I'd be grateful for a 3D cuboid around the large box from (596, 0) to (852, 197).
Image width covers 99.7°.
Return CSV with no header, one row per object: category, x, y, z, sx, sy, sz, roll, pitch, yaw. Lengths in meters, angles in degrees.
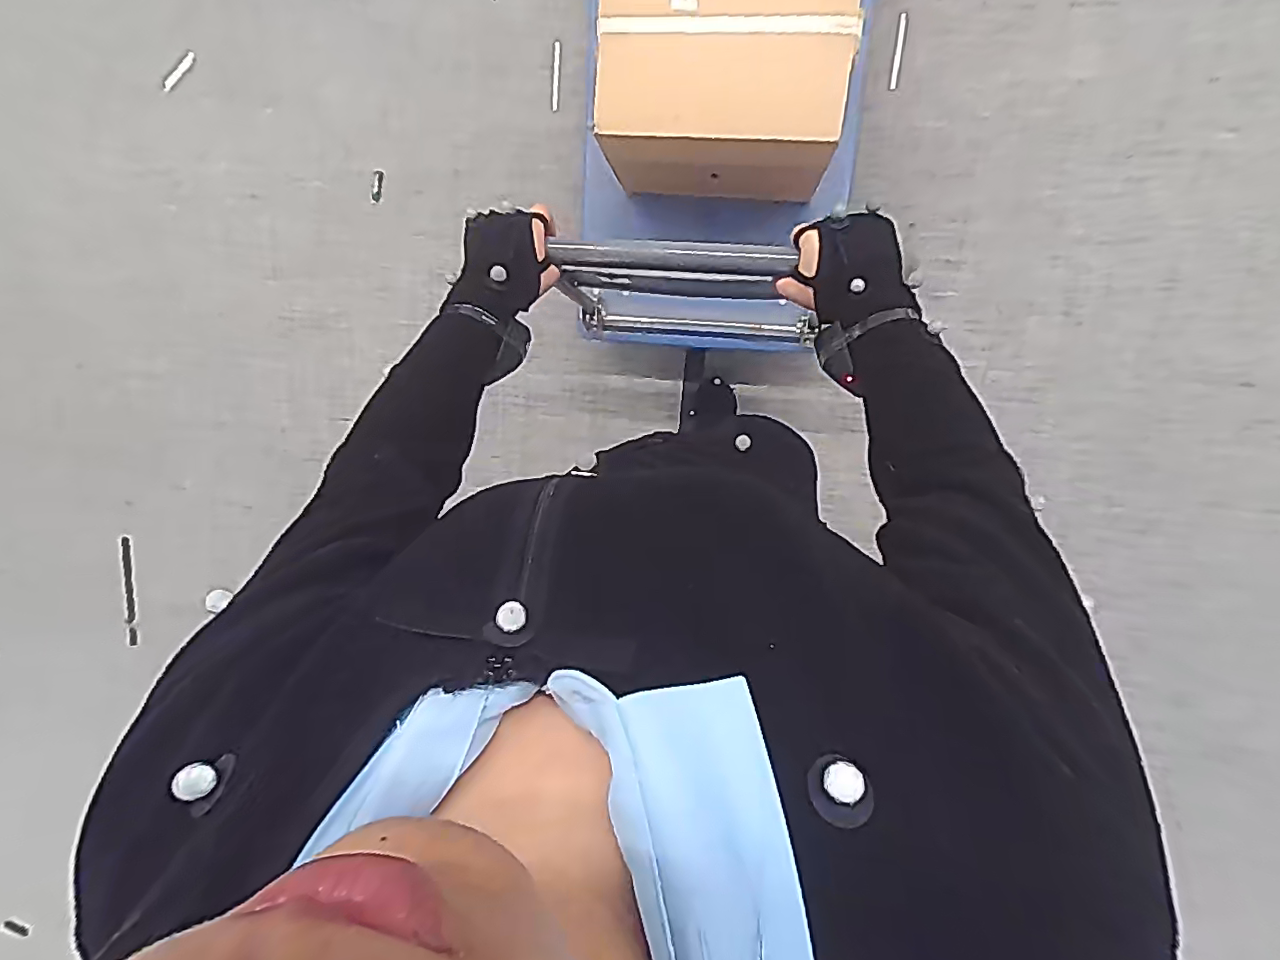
large box,0.155,-0.743,1.016,0.408,0.320,0.320,7,101,8
